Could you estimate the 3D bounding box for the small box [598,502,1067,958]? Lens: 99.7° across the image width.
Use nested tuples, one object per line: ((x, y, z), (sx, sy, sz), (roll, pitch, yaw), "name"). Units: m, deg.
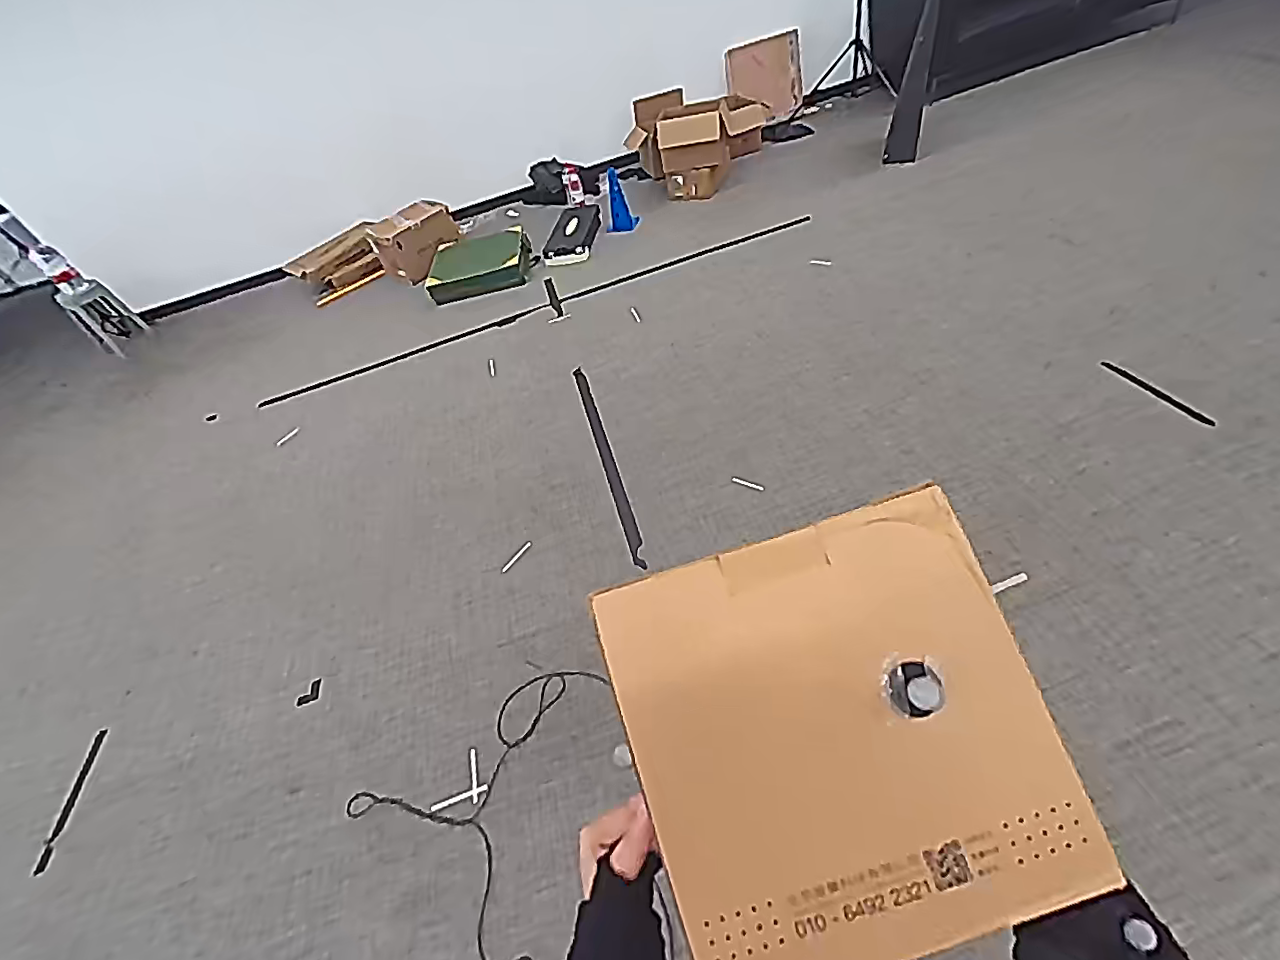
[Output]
((0.088, 0.129, 0.317), (0.168, 0.179, 0.176), (-18, 77, 1), "small box")
